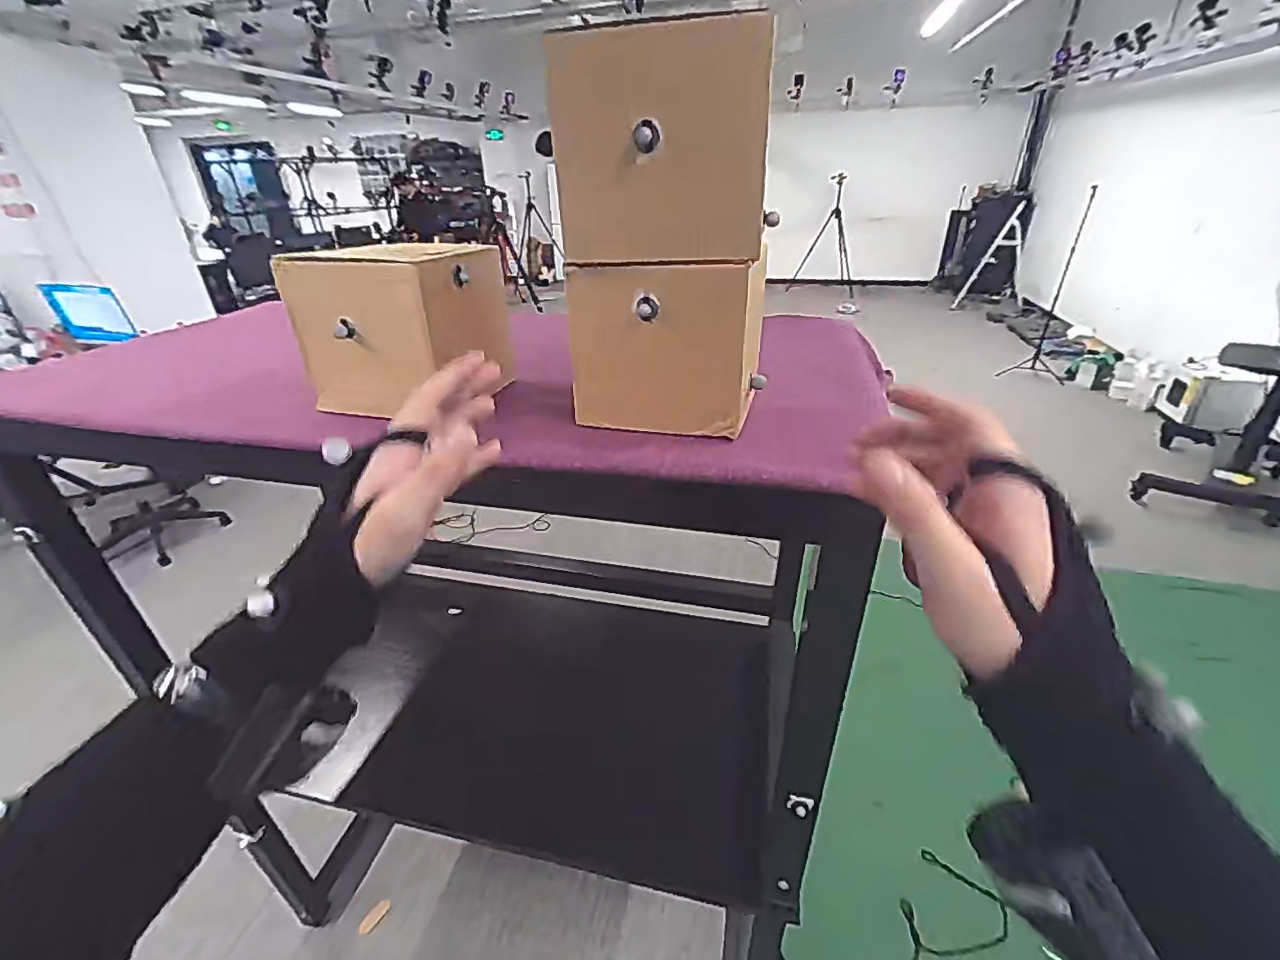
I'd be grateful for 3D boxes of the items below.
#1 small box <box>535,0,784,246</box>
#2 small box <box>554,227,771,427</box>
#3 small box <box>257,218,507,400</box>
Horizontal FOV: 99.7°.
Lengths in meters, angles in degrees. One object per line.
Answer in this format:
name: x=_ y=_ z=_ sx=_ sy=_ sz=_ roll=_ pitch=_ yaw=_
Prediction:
small box: x=0.027 y=-0.306 z=0.476 sx=0.179 sy=0.176 sz=0.168 roll=4 pitch=30 yaw=11
small box: x=0.030 y=-0.164 z=0.558 sx=0.179 sy=0.176 sz=0.168 roll=9 pitch=31 yaw=16
small box: x=-0.272 y=-0.198 z=0.614 sx=0.179 sy=0.176 sz=0.168 roll=8 pitch=31 yaw=14
